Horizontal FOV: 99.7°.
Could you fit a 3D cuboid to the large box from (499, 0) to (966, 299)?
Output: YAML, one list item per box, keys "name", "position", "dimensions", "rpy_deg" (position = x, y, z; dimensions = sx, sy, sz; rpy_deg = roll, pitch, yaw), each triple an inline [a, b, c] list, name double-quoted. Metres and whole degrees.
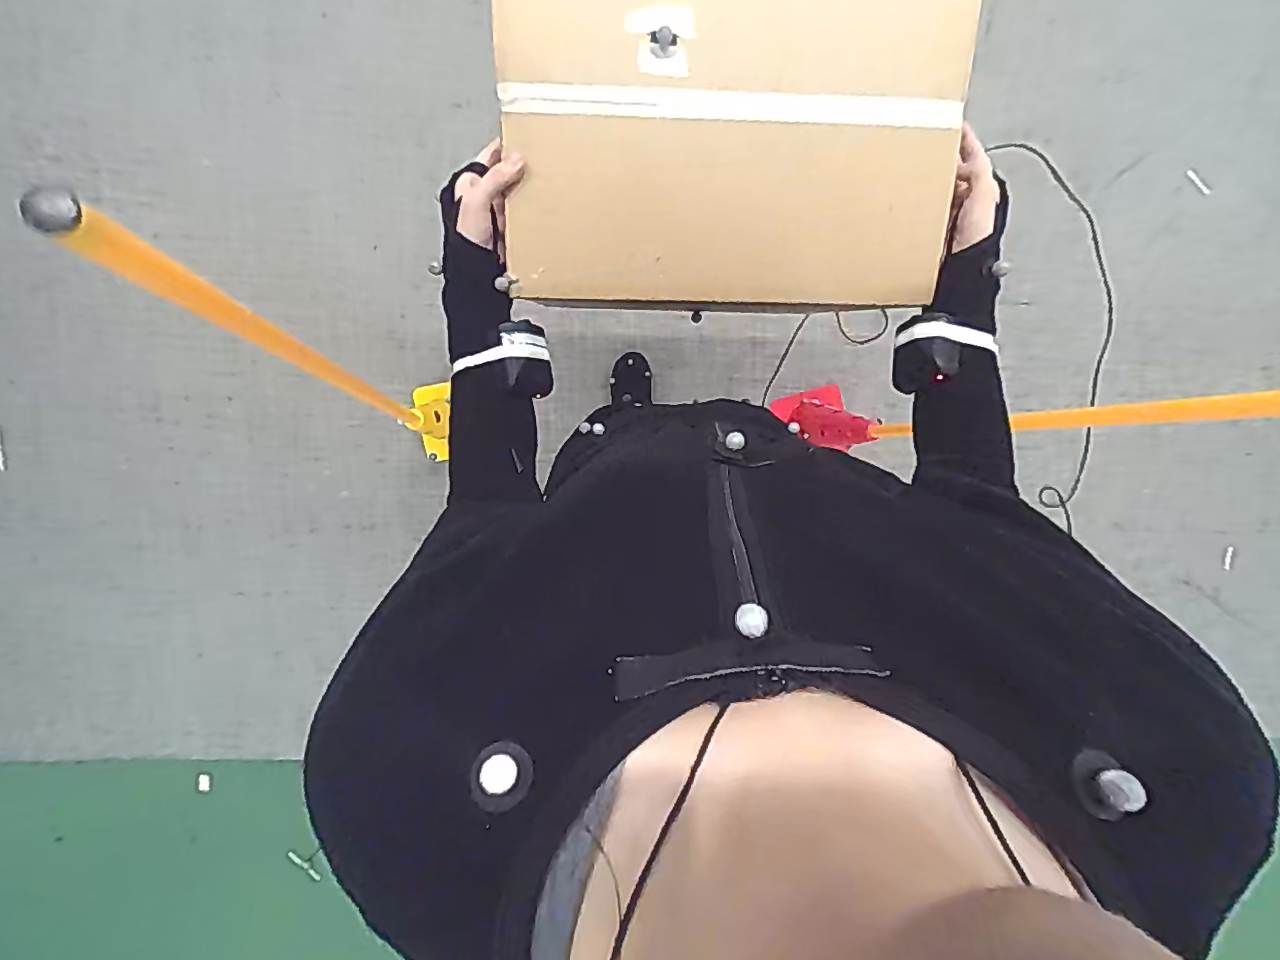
- name: "large box"
  position: [0.074, -0.372, 0.619]
  dimensions: [0.408, 0.320, 0.320]
  rpy_deg: [0, 106, -3]
